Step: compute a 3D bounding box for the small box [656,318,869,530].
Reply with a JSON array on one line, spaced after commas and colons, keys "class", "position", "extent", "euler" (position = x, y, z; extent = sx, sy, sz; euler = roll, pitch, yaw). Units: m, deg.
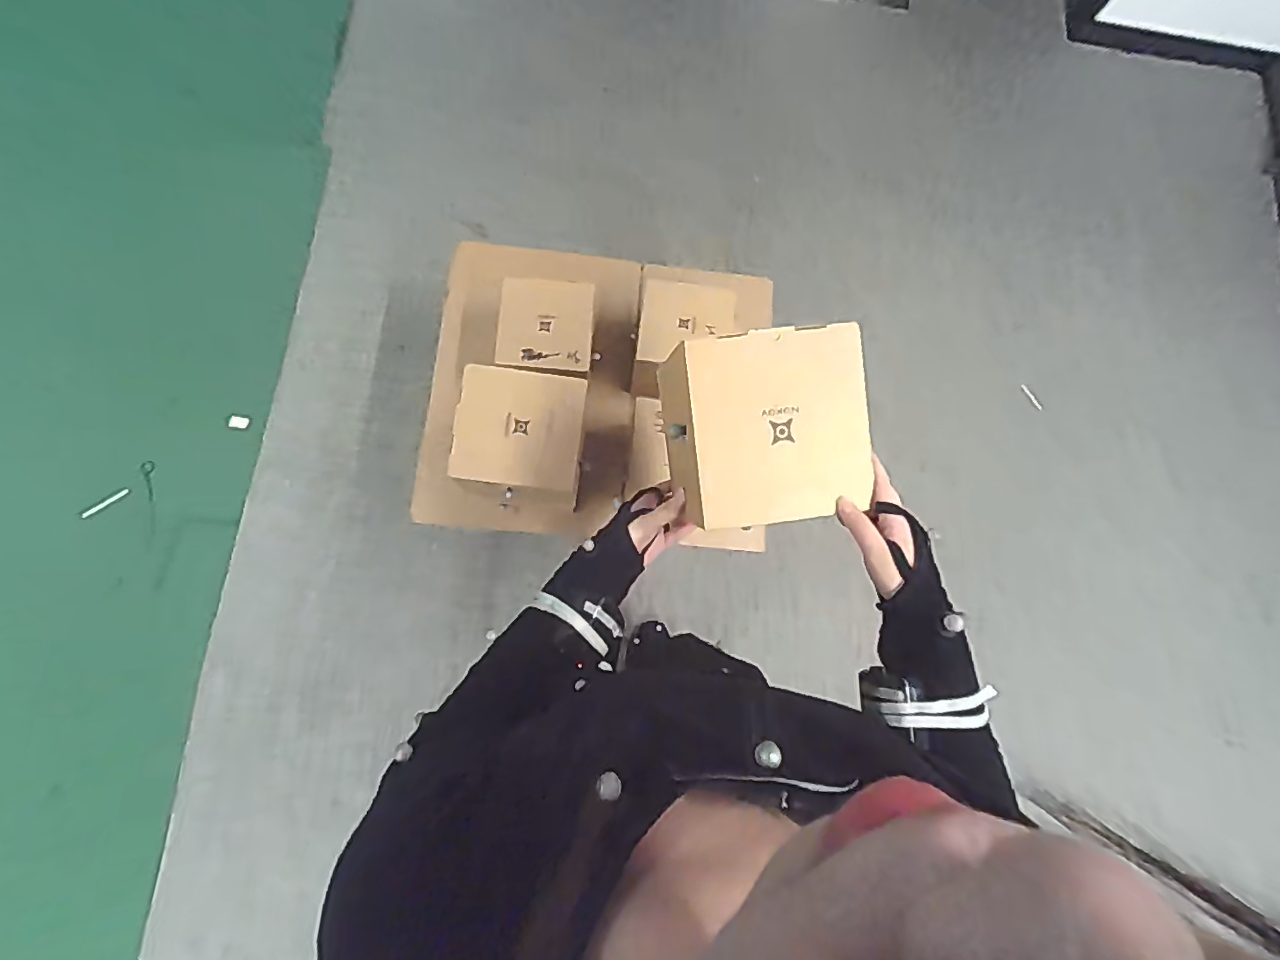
[{"class": "small box", "position": [0.114, -0.055, 0.564], "extent": [0.168, 0.176, 0.179], "euler": [-8, 94, -5]}]

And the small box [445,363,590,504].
[{"class": "small box", "position": [-0.174, -0.061, 0.826], "extent": [0.179, 0.176, 0.168], "euler": [8, 79, -4]}]

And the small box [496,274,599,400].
[{"class": "small box", "position": [-0.167, -0.263, 1.033], "extent": [0.168, 0.176, 0.179], "euler": [4, 77, -2]}]
